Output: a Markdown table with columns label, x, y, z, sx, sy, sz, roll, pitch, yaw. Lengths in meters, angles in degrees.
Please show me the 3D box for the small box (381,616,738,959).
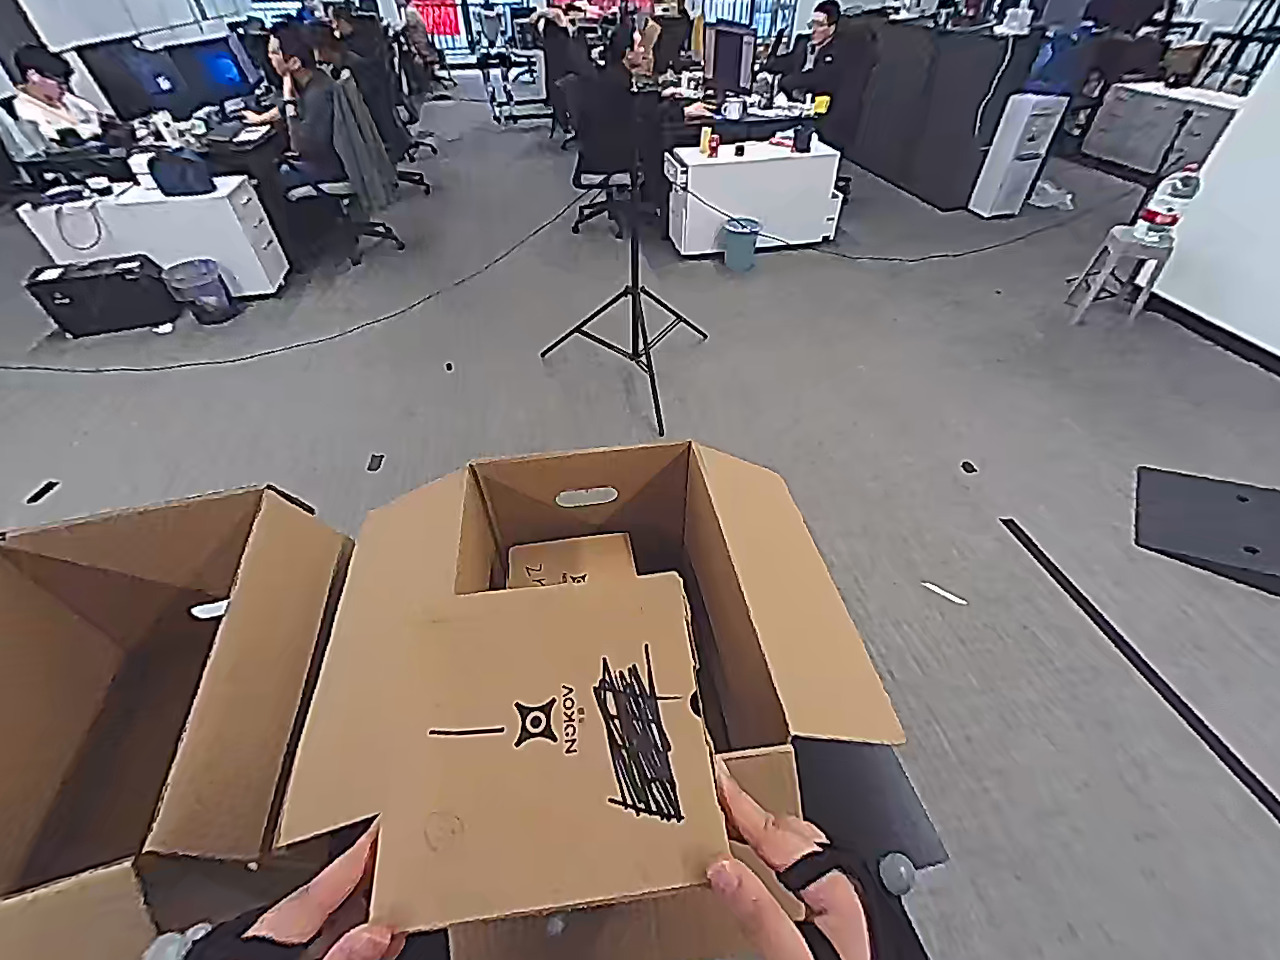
| label | x | y | z | sx | sy | sz | roll | pitch | yaw |
| --- | --- | --- | --- | --- | --- | --- | --- | --- | --- |
| small box | -0.048 | 0.206 | 0.369 | 0.179 | 0.176 | 0.168 | -5 | 56 | -5 |
